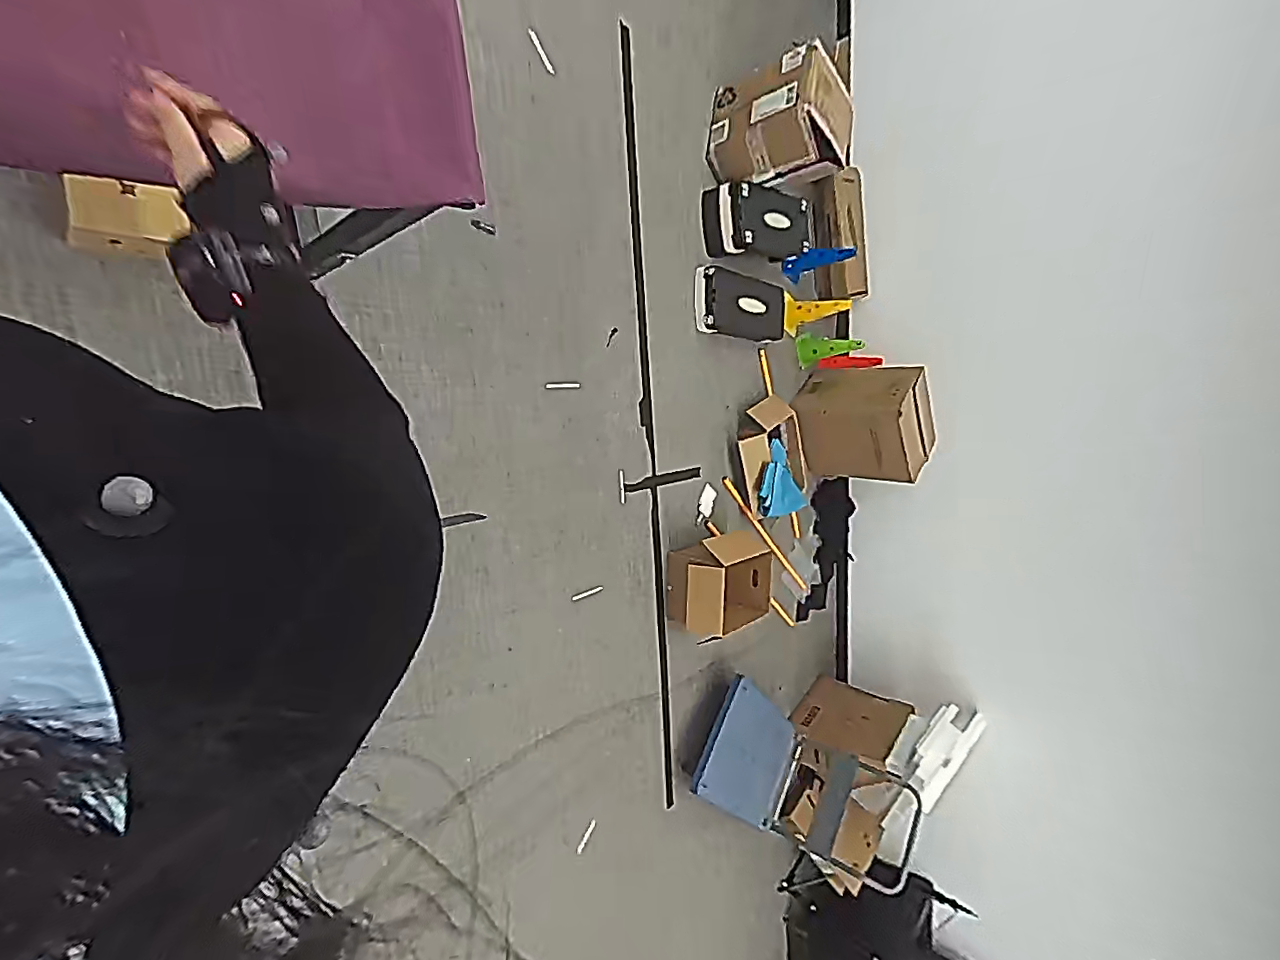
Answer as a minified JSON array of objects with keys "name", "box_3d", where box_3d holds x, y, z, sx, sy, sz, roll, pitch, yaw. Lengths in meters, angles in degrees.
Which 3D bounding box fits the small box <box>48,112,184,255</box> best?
[{"name":"small box","box_3d":[-0.993,-0.545,1.028,0.168,0.176,0.179,-9,100,-47]}]
